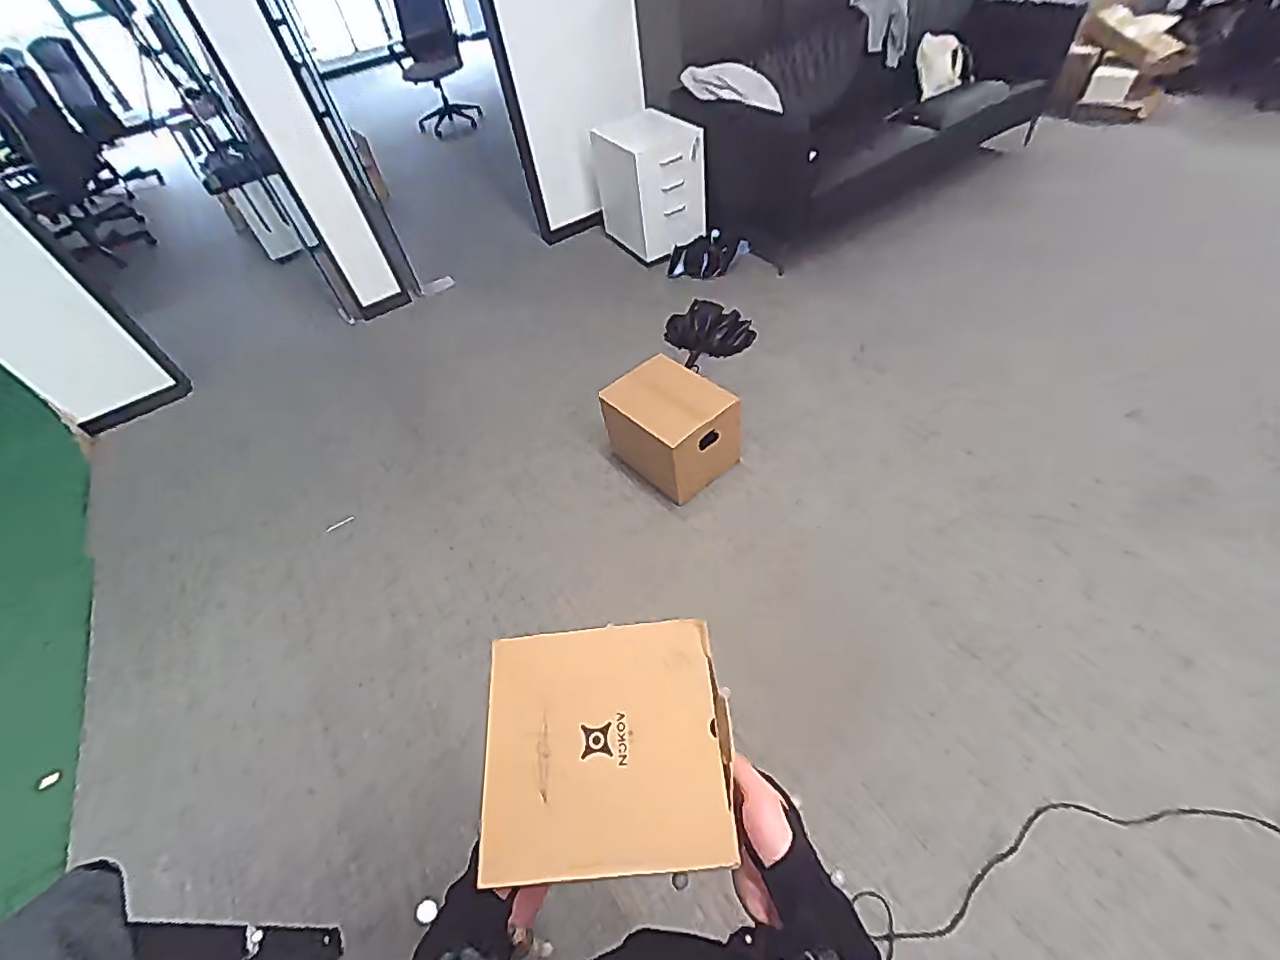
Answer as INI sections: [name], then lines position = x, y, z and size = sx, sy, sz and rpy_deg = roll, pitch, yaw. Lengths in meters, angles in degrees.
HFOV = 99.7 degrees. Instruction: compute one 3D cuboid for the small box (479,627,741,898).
[small box]
position = -0.018, 0.238, 0.460
size = 0.179, 0.176, 0.168
rpy_deg = -8, 57, 3
